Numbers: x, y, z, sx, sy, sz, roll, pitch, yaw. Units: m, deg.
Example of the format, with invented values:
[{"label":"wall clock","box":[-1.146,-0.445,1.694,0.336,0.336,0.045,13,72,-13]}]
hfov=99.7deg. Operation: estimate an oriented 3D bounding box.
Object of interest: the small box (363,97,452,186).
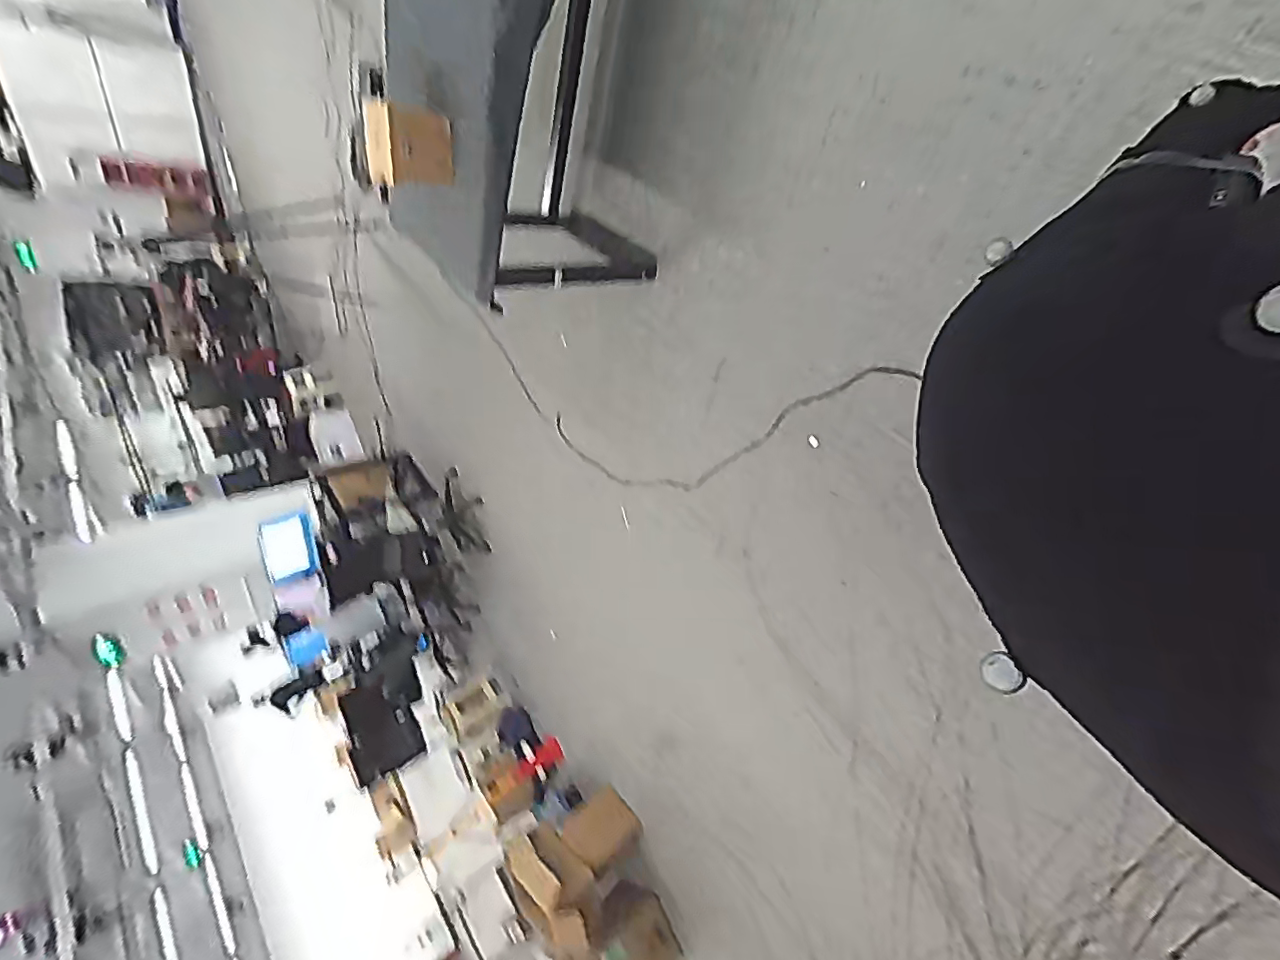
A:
[{"label":"small box","box":[-0.615,-0.899,1.444,0.168,0.176,0.179,35,128,34]}]
